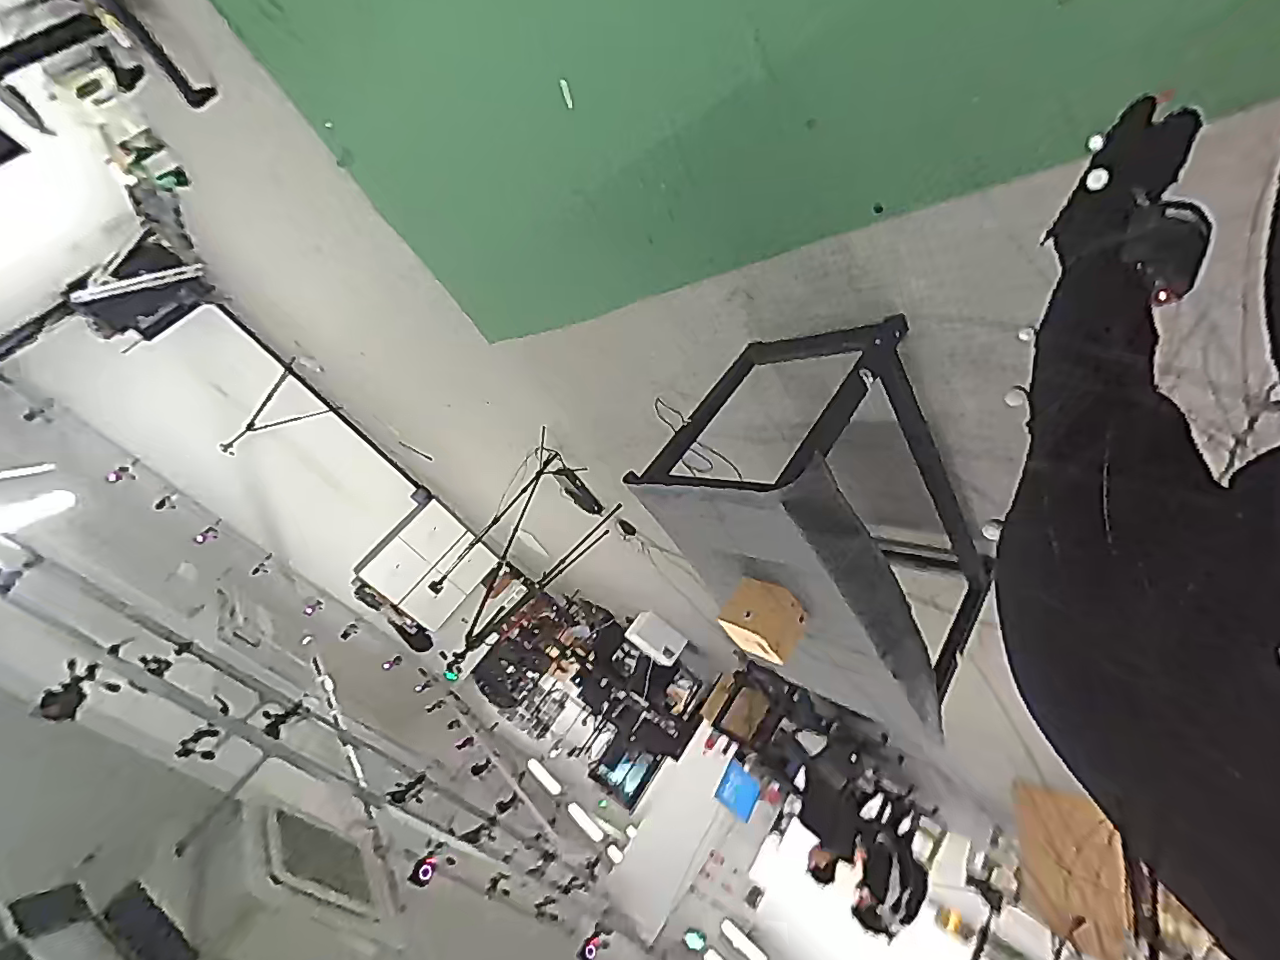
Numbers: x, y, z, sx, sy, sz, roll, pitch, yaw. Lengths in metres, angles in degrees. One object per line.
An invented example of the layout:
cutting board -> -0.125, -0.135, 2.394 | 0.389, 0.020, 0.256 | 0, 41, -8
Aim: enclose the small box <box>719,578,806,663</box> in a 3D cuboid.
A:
small box -> 0.381, 0.419, 1.644 | 0.179, 0.176, 0.168 | 7, 141, 55
